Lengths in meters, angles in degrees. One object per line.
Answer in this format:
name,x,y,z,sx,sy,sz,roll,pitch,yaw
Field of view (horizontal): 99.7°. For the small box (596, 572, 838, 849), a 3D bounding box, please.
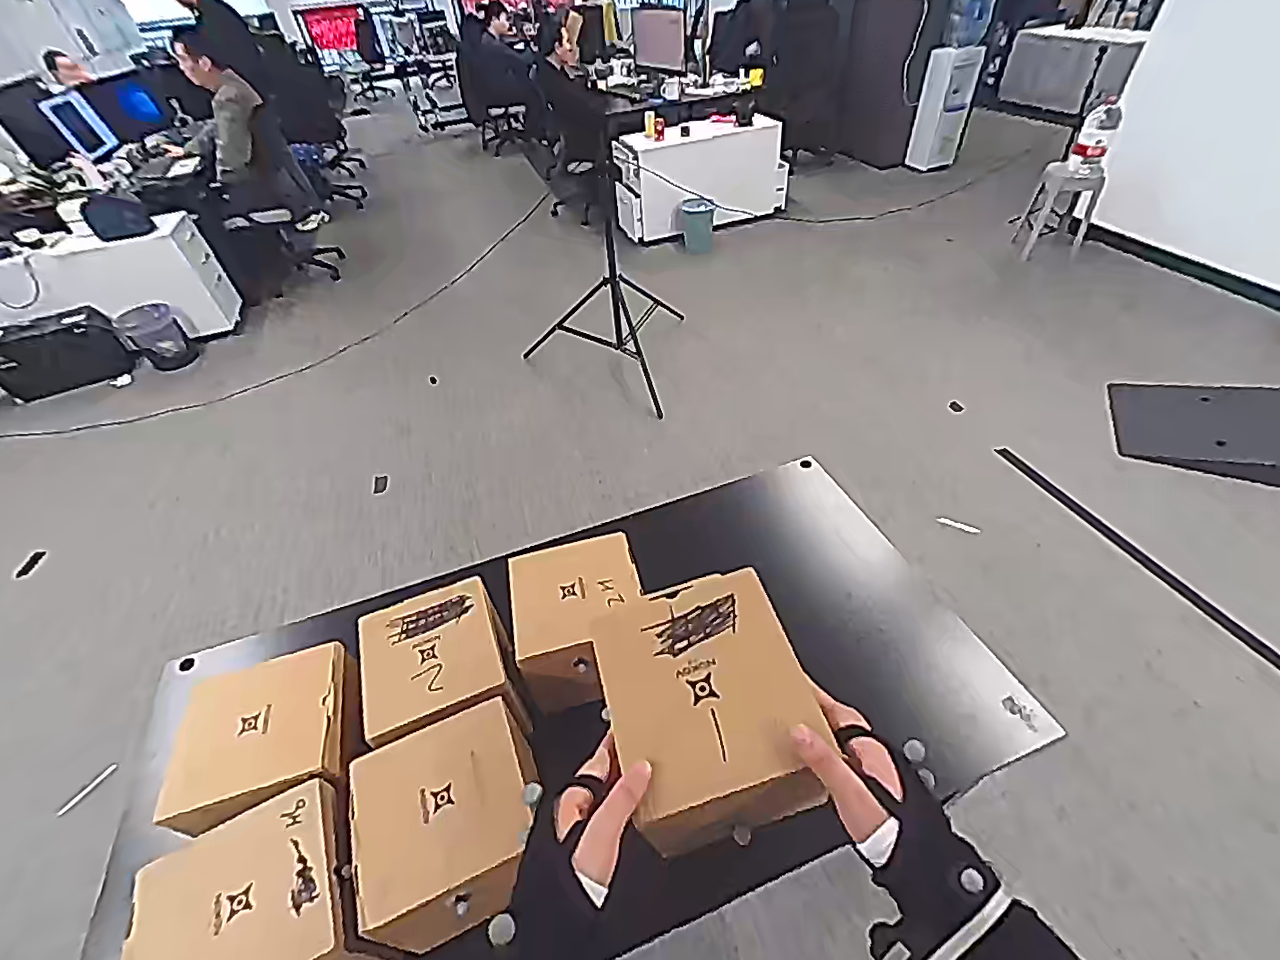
small box,0.067,0.224,0.523,0.168,0.176,0.179,-18,48,-3
